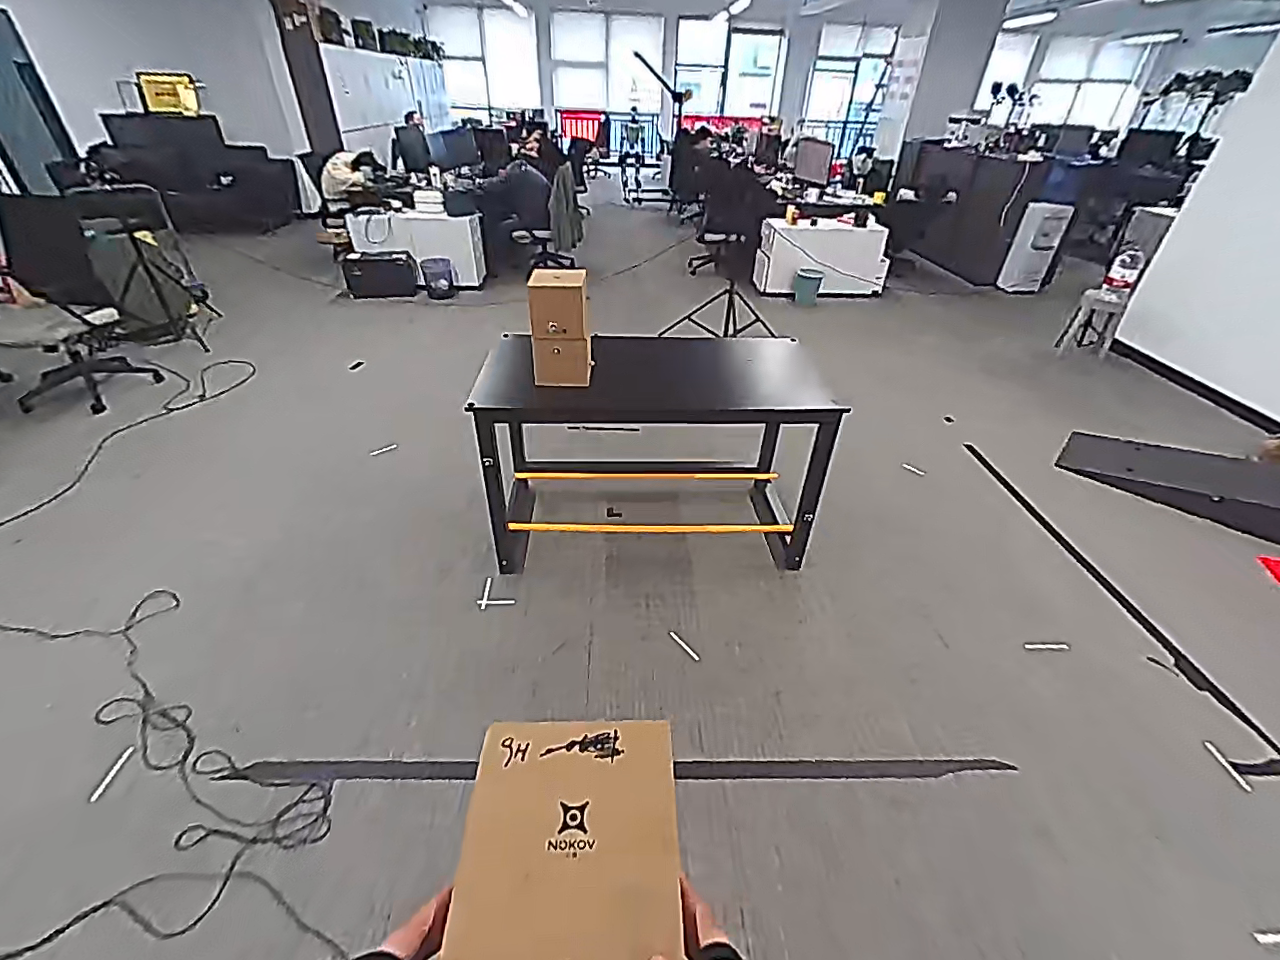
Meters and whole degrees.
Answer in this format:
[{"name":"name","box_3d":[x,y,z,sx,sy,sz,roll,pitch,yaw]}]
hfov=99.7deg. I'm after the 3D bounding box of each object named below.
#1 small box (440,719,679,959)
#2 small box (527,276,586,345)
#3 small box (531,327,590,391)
[{"name":"small box","box_3d":[-0.053,0.334,0.472,0.168,0.176,0.179,-1,39,-1]},{"name":"small box","box_3d":[-0.259,-0.539,1.717,0.168,0.176,0.179,-1,36,-2]},{"name":"small box","box_3d":[-0.261,-0.408,1.813,0.179,0.176,0.168,1,35,-2]}]
